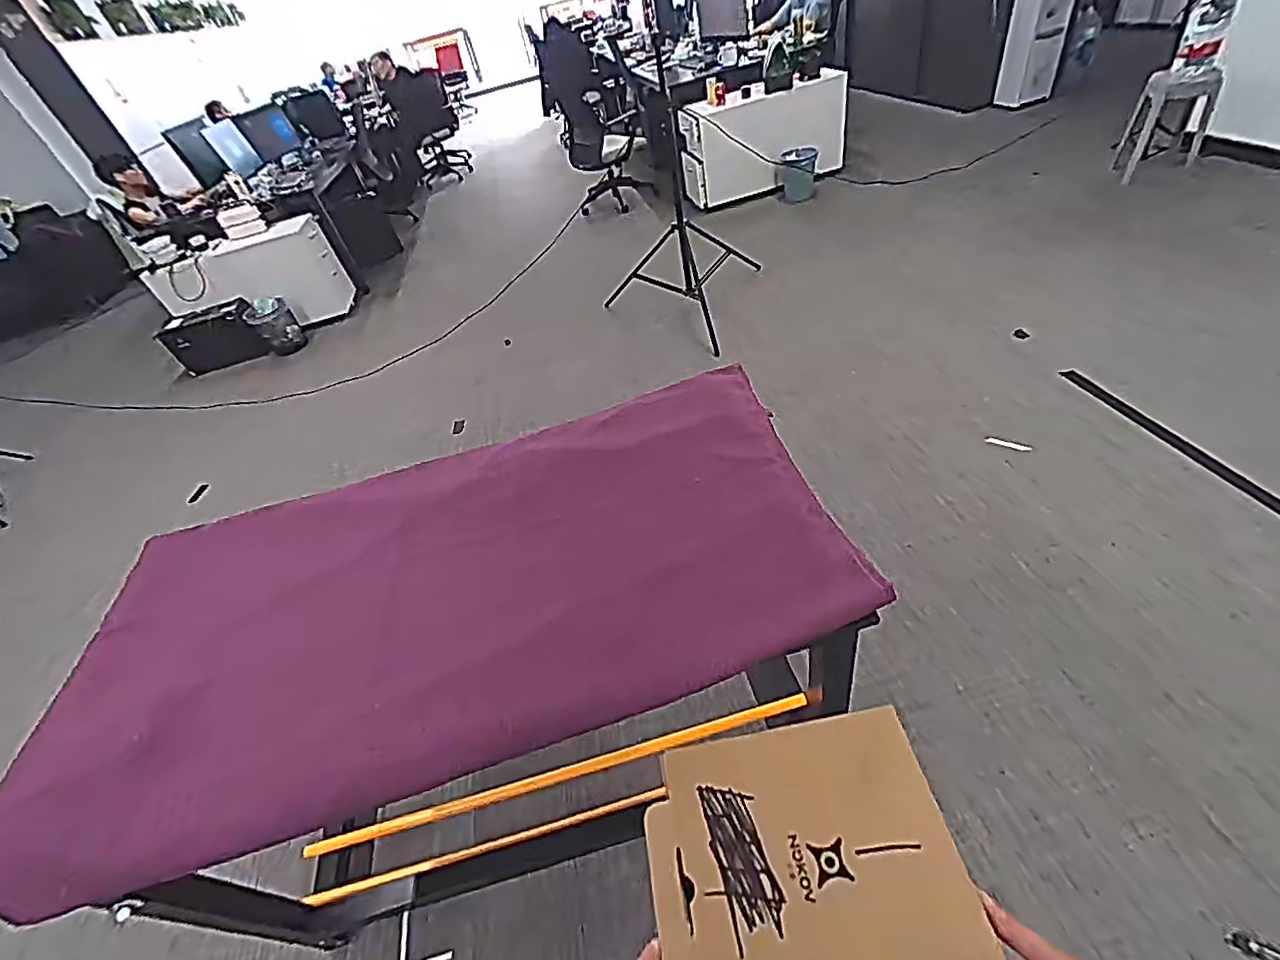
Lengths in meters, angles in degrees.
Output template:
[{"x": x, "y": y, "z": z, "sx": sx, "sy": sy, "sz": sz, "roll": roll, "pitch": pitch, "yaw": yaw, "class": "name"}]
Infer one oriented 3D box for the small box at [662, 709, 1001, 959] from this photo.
[{"x": 0.124, "y": 0.297, "z": 0.406, "sx": 0.179, "sy": 0.176, "sz": 0.168, "roll": -12, "pitch": 49, "yaw": 1, "class": "small box"}]
